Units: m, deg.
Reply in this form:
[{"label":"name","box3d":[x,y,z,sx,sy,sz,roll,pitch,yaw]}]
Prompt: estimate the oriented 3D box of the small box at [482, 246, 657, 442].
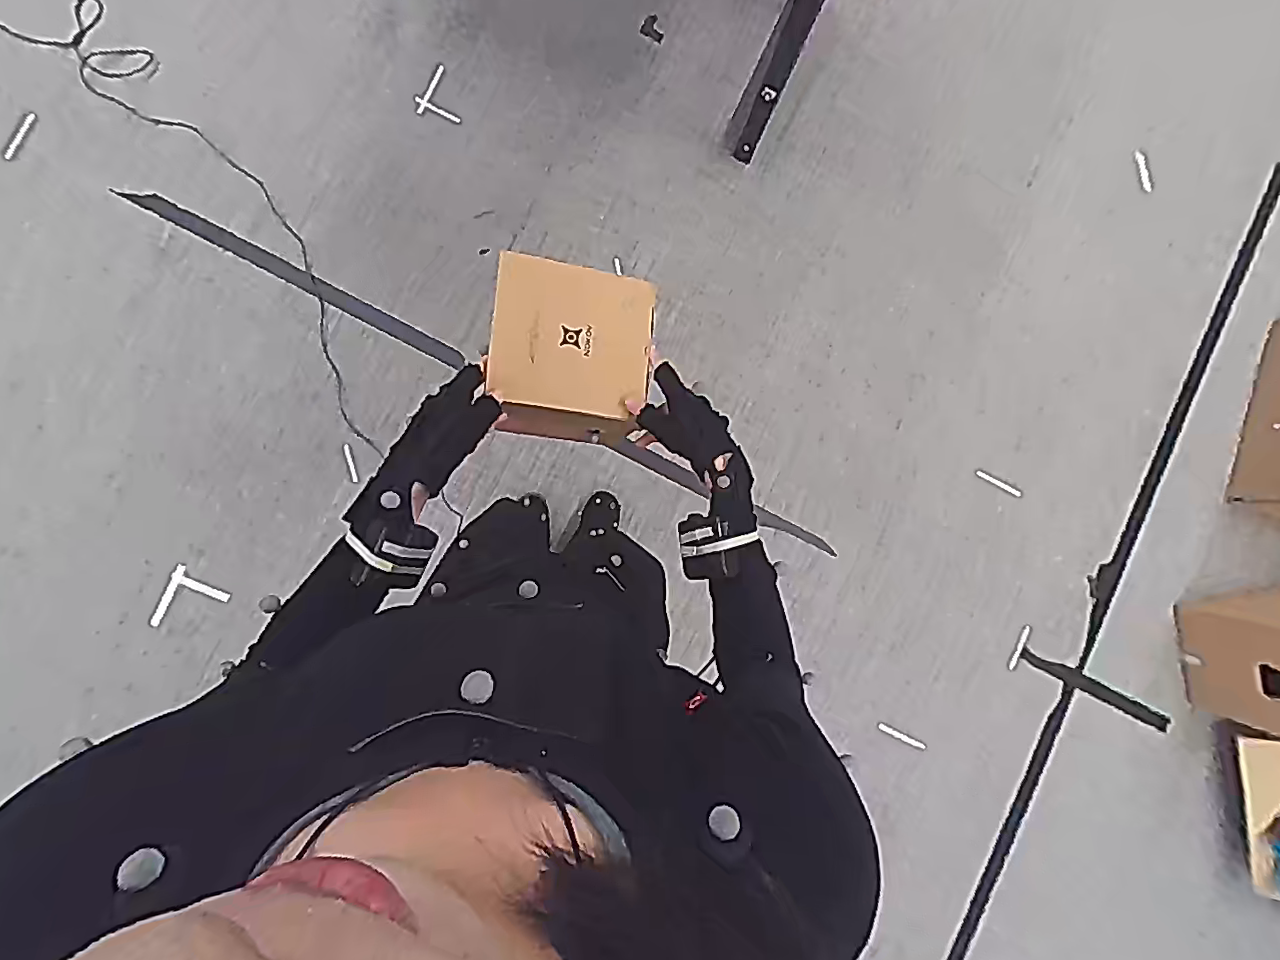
[{"label":"small box","box3d":[-0.091,-0.146,0.651,0.179,0.176,0.168,6,80,-14]}]
